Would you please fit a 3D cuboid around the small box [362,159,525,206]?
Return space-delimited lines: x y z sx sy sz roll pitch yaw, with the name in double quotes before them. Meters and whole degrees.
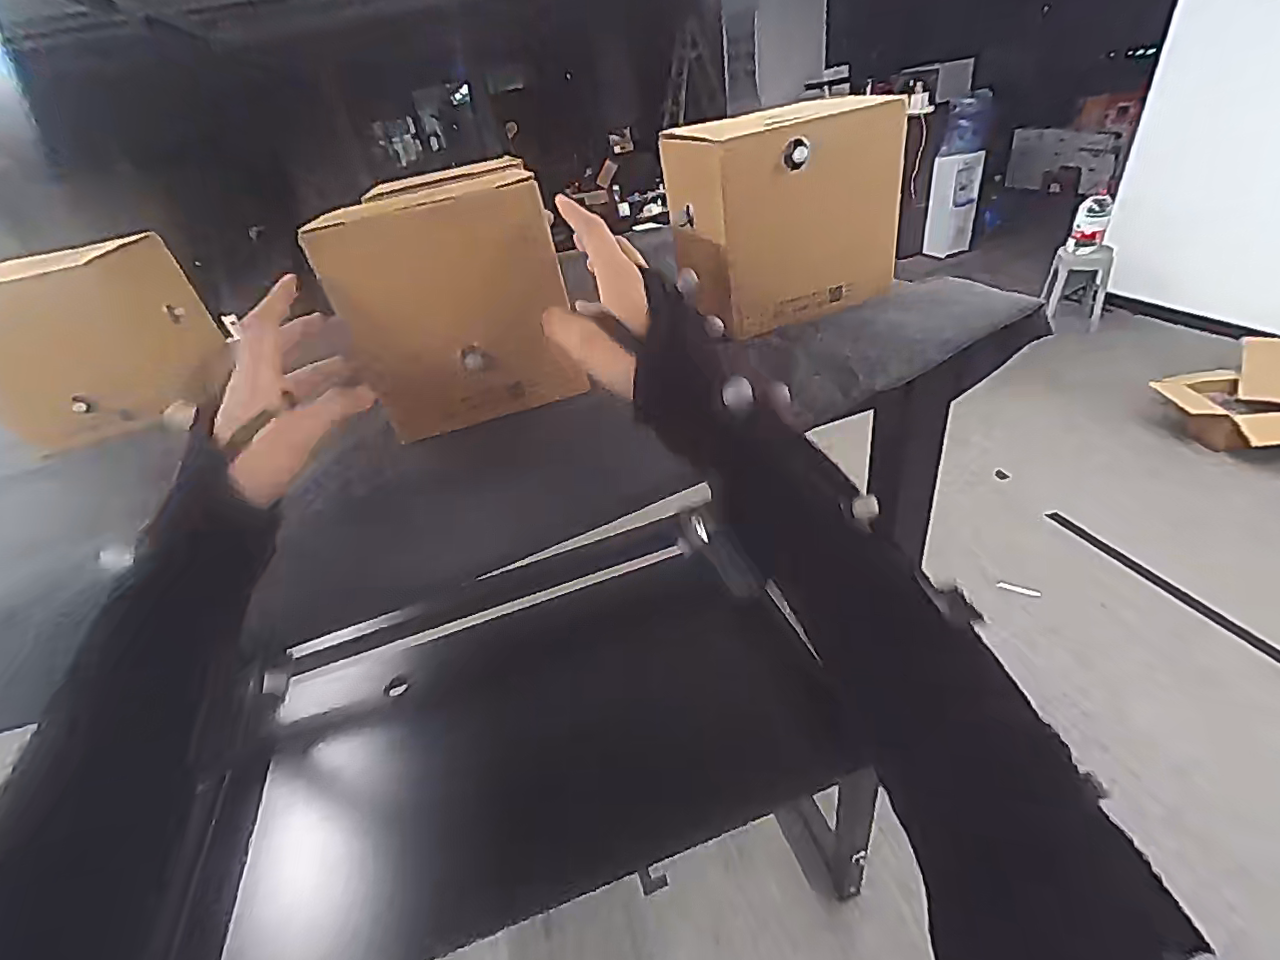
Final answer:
"small box" -0.218 -0.292 0.688 0.179 0.176 0.168 -17 35 -7

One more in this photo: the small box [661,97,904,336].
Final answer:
"small box" 0.129 -0.259 0.537 0.168 0.176 0.179 -16 35 -5

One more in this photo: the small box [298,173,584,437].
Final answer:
"small box" -0.158 -0.161 0.483 0.168 0.176 0.179 -18 34 -6
